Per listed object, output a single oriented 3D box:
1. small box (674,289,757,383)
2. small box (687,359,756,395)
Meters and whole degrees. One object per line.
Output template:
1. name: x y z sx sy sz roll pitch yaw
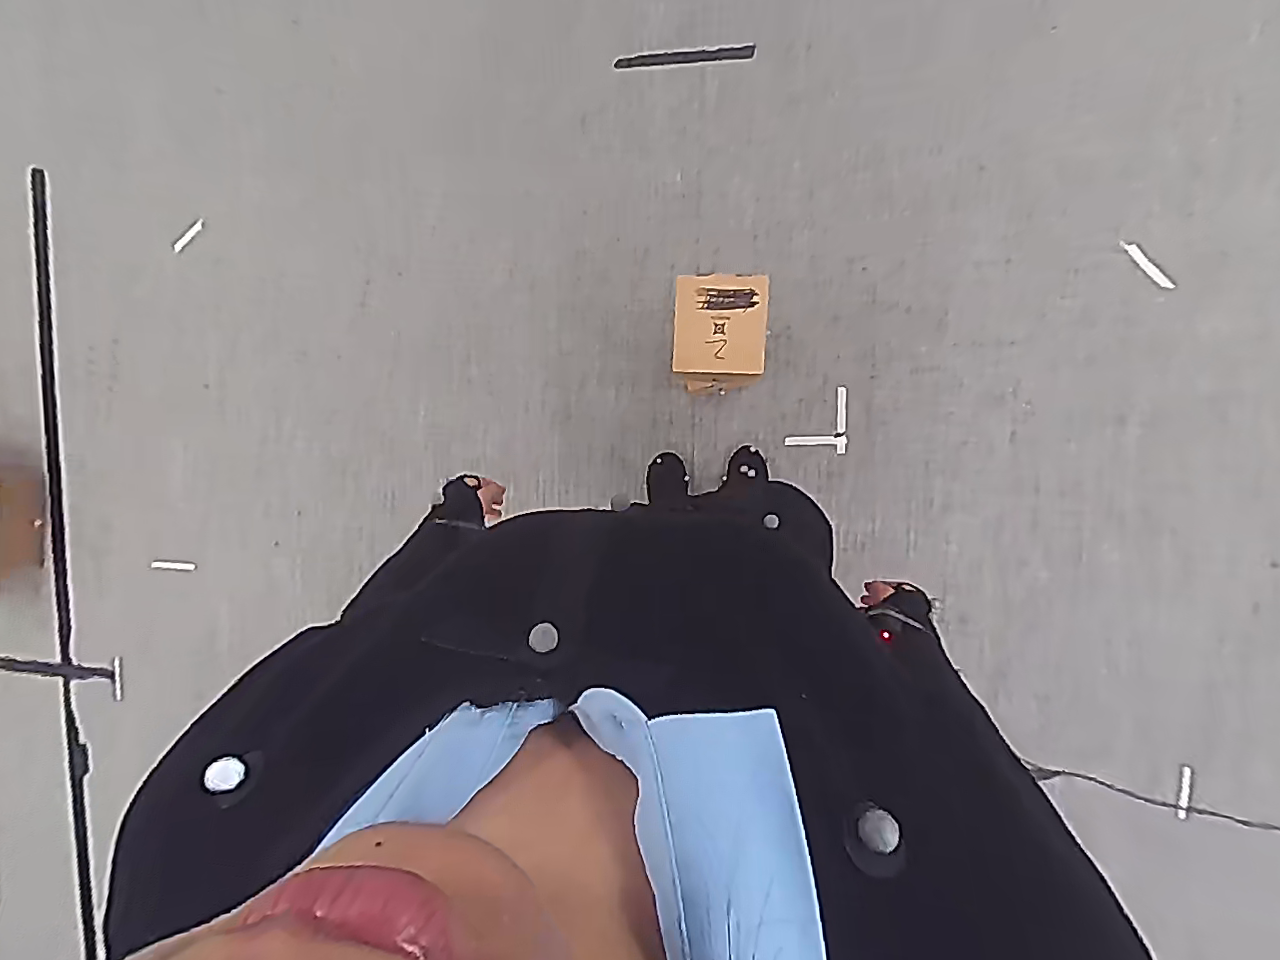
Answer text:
1. small box: 0.165 -0.315 1.206 0.168 0.176 0.179 3 95 7
2. small box: 0.192 -0.320 1.367 0.168 0.176 0.179 -10 93 8
